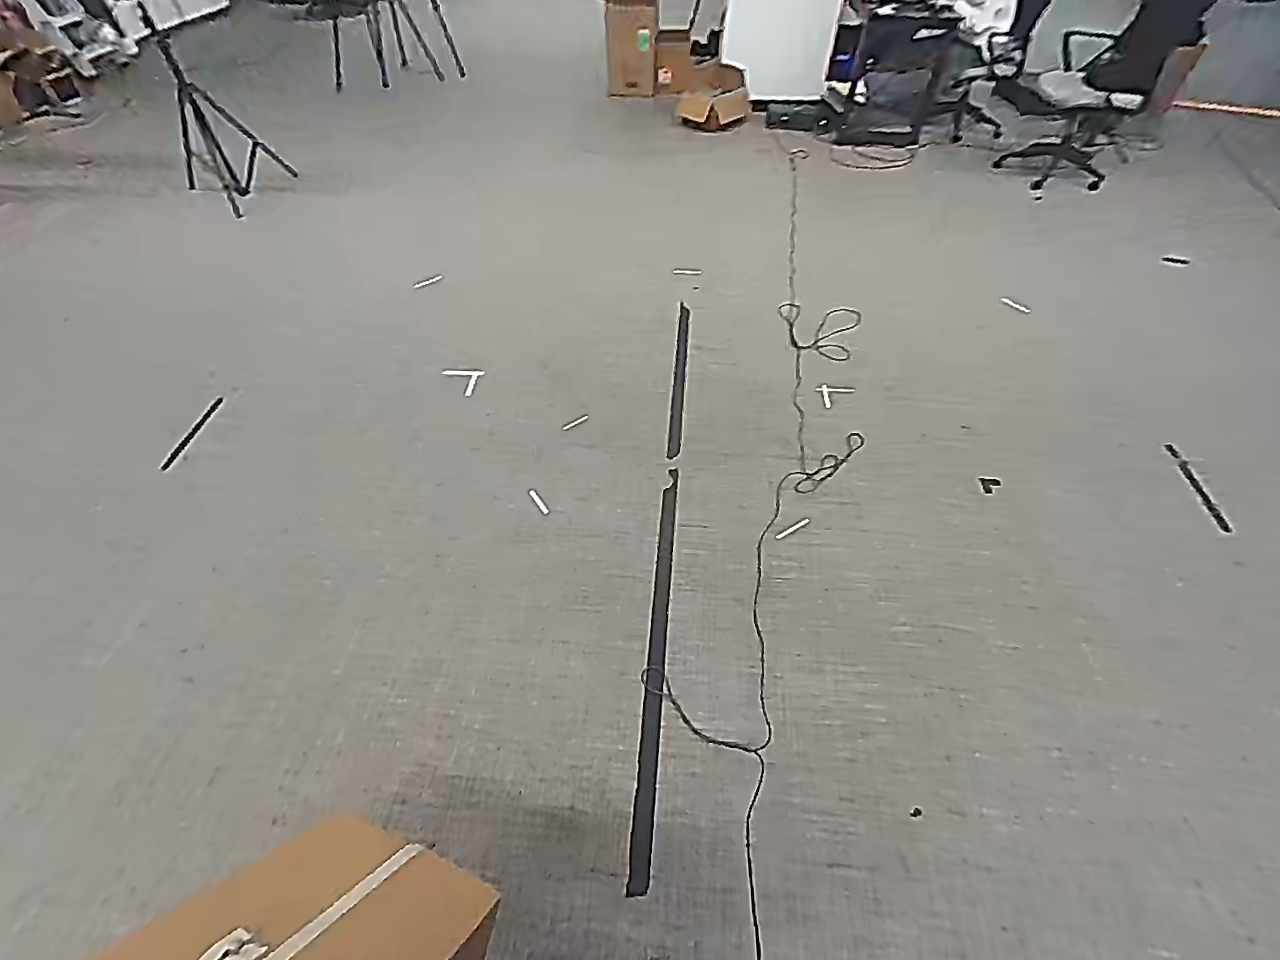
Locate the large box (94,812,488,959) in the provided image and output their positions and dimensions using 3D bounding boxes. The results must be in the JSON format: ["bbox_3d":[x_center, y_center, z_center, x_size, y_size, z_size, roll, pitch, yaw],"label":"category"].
[{"bbox_3d":[-0.457,0.715,0.664,0.320,0.408,0.320,15,88,17],"label":"large box"}]
